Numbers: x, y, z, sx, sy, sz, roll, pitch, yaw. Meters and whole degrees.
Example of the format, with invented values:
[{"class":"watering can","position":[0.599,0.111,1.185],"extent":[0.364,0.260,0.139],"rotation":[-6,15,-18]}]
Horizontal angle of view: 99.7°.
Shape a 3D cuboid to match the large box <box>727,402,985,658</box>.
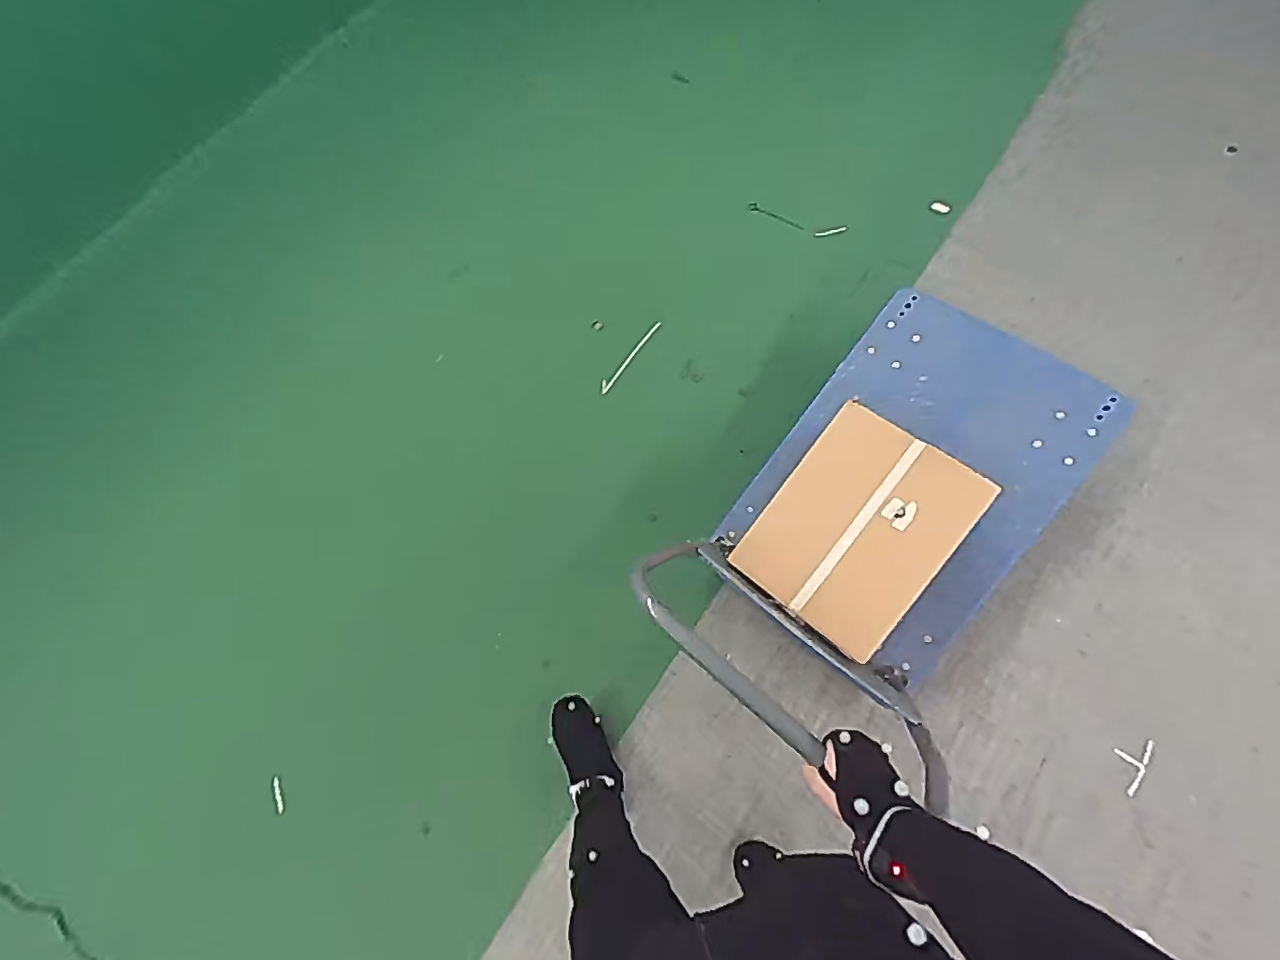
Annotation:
[{"class":"large box","position":[0.442,0.114,1.176],"extent":[0.320,0.320,0.408],"rotation":[37,92,19]}]
